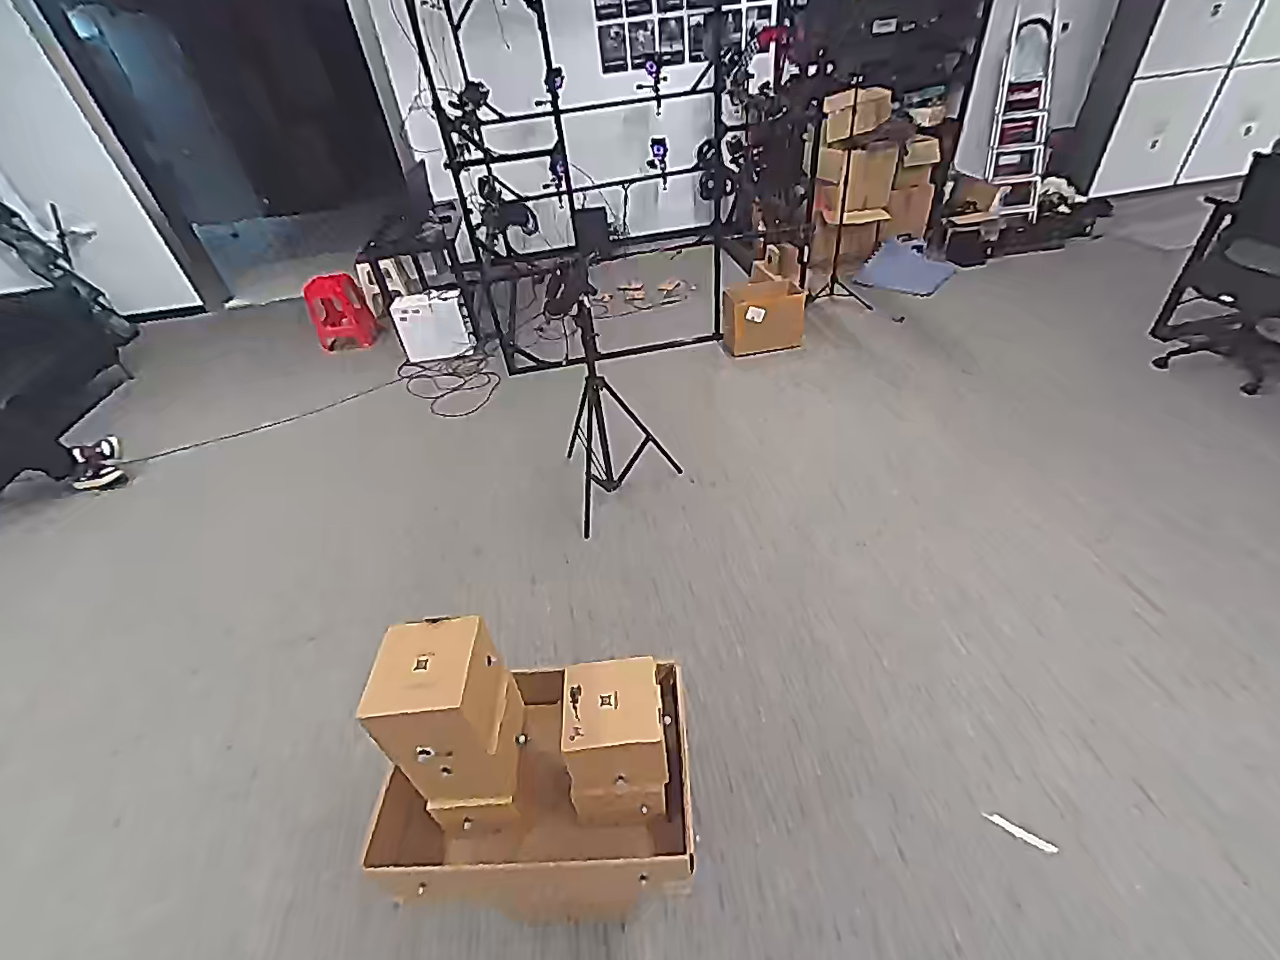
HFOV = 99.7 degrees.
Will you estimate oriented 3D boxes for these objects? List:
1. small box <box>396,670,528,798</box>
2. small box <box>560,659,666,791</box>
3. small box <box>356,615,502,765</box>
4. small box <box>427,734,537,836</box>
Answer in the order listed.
[{"bbox_3d":[-0.326,0.486,1.030,0.179,0.176,0.168,-4,38,2],"label":"small box"},{"bbox_3d":[-0.044,0.460,1.016,0.179,0.176,0.168,-6,39,1],"label":"small box"},{"bbox_3d":[-0.346,0.359,0.928,0.168,0.176,0.179,-6,38,1],"label":"small box"},{"bbox_3d":[-0.316,0.619,1.127,0.168,0.176,0.179,-5,38,1],"label":"small box"}]
